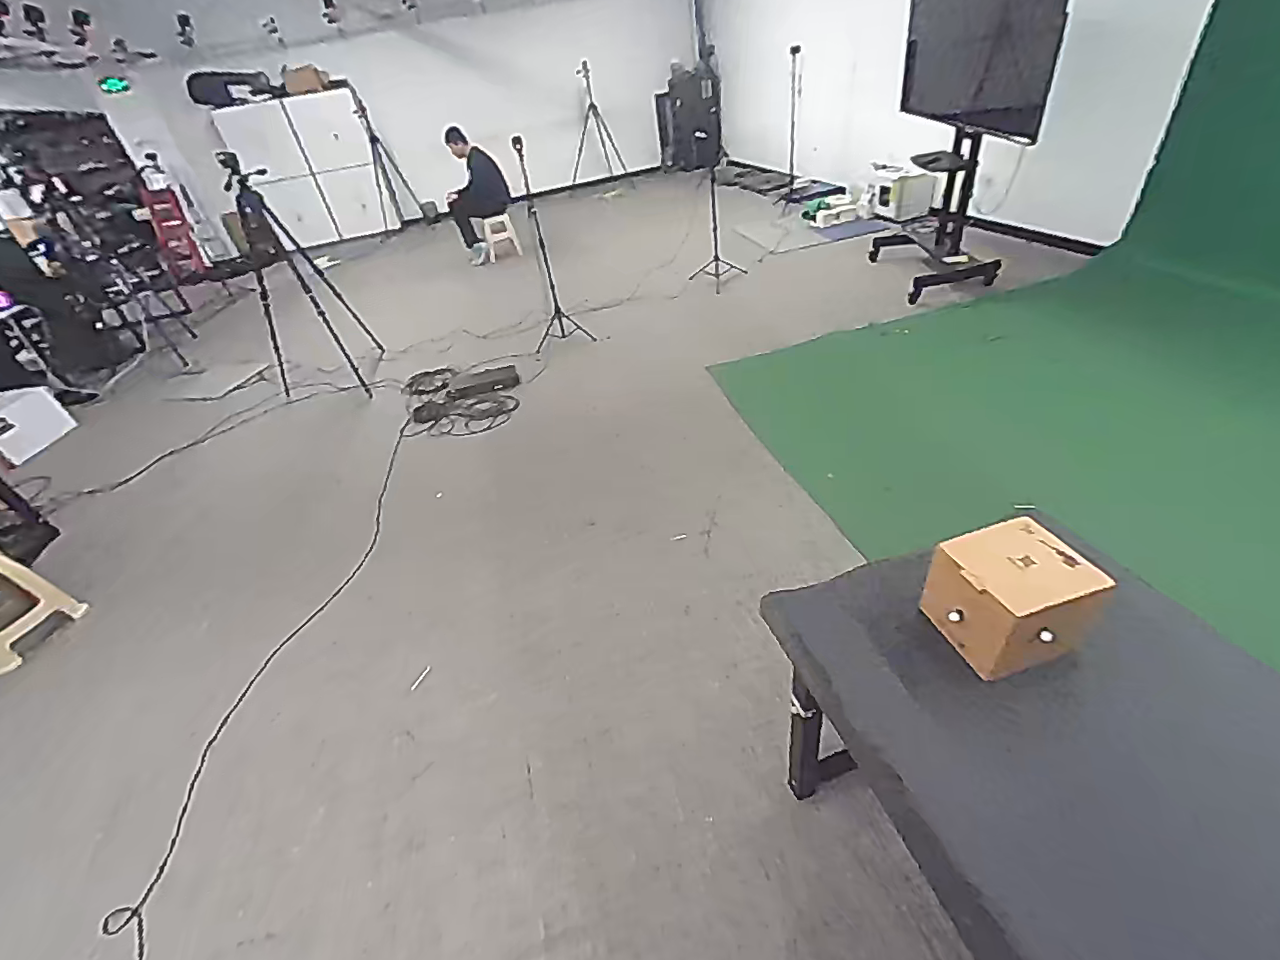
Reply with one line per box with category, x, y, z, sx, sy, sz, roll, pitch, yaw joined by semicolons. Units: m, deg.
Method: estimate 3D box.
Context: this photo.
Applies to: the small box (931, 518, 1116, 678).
small box;0.611;0.196;0.892;0.179;0.176;0.168;-16;38;-7
